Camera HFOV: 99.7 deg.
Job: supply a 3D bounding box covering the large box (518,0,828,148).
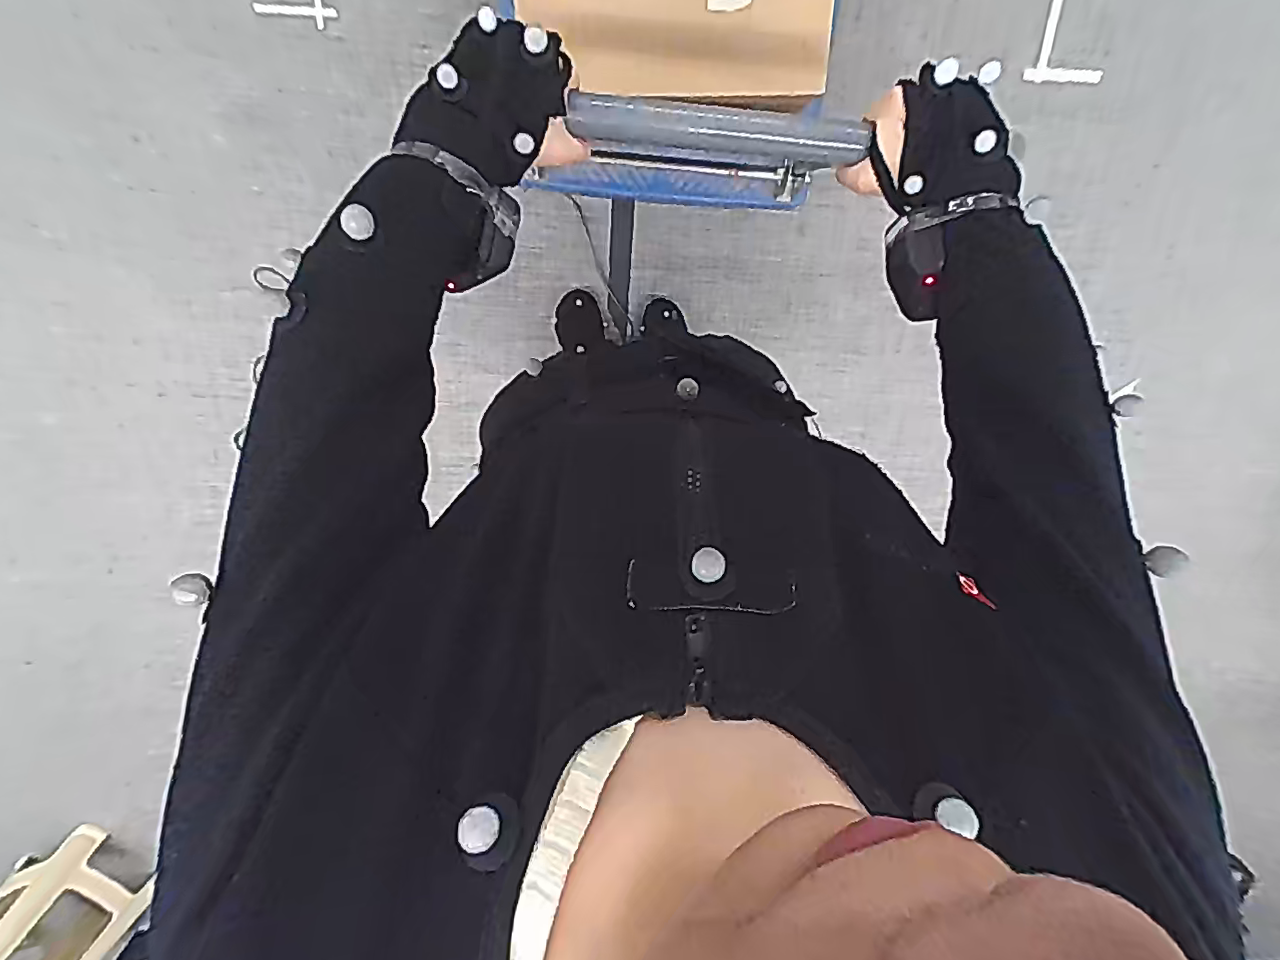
[{"bbox_3d":[0.029,-0.706,0.800,0.408,0.320,0.320,-4,112,-4],"label":"large box"}]
